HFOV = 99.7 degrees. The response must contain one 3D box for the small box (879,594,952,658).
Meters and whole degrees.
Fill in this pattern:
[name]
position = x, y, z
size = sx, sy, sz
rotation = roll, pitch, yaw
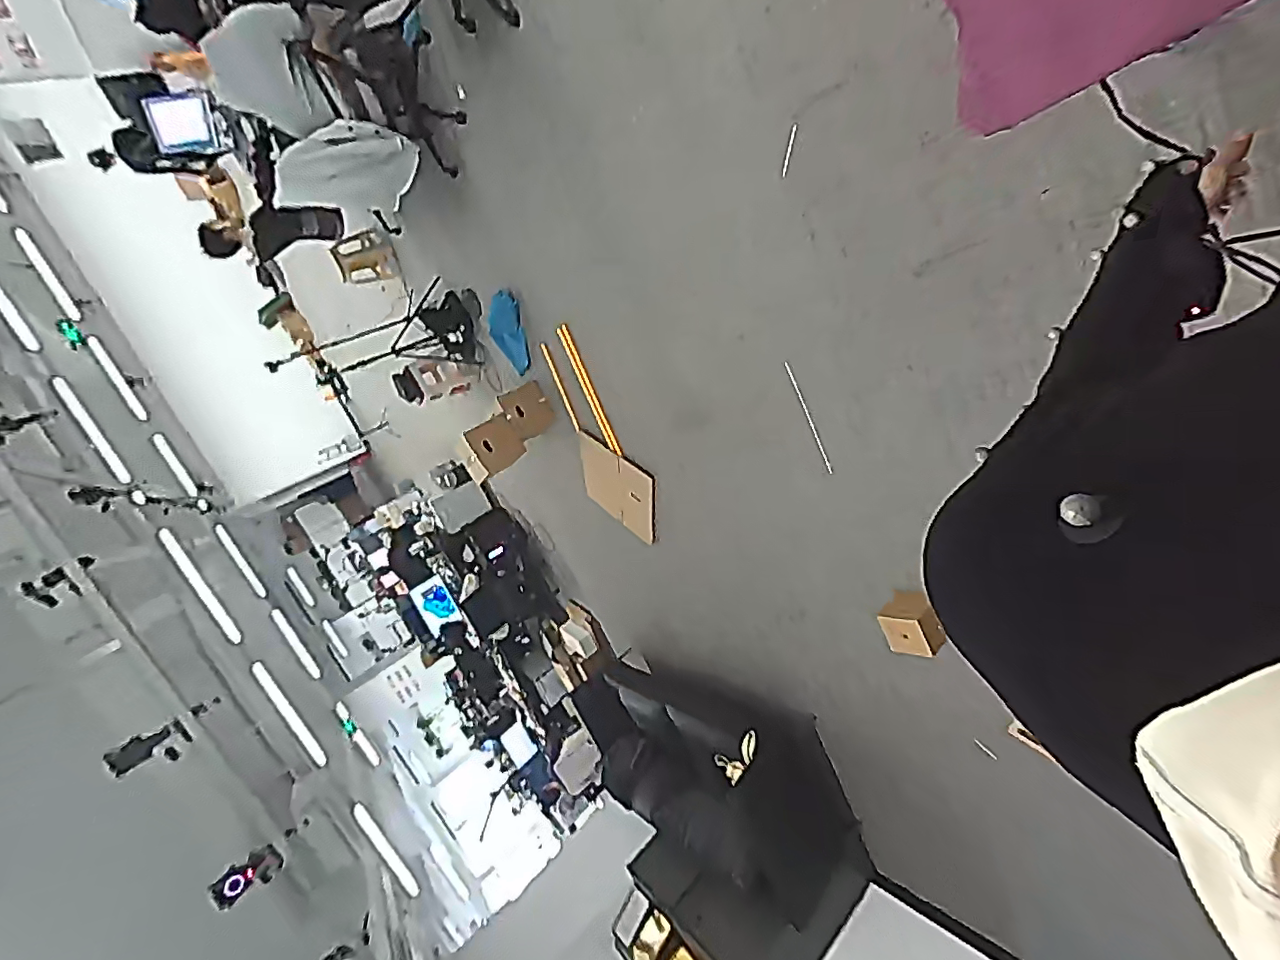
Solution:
[small box]
position = 1.066, 0.555, 2.077
size = 0.179, 0.176, 0.168
rotation = -13, 106, 59
